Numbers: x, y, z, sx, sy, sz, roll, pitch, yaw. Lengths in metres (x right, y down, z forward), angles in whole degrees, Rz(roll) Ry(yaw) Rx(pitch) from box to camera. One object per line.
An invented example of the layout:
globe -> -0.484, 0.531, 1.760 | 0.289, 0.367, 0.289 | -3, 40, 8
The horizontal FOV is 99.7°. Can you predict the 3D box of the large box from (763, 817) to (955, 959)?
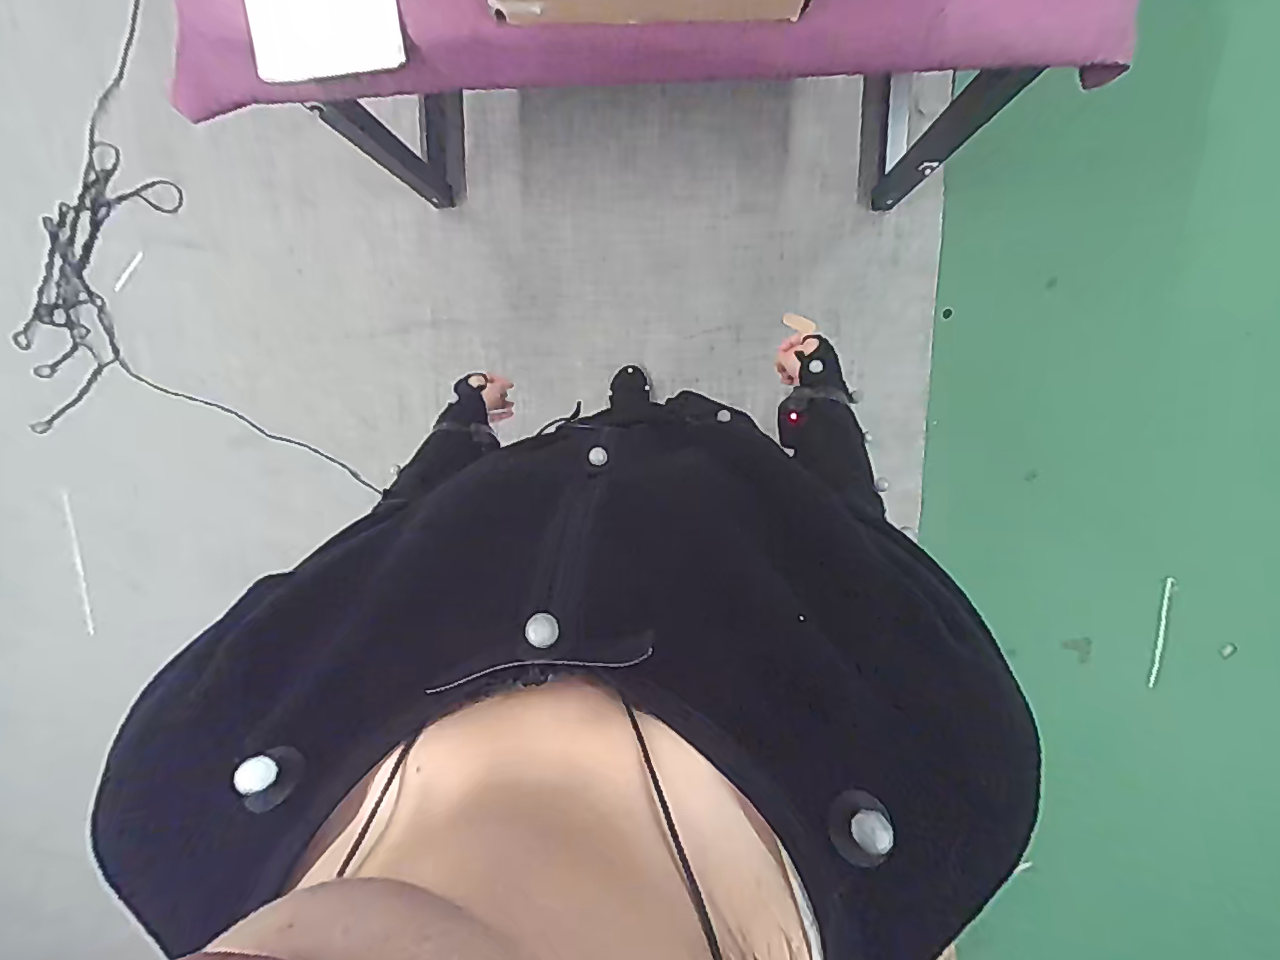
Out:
large box -> 0.591, 1.210, 1.494 | 0.408, 0.320, 0.320 | -14, 98, 5
